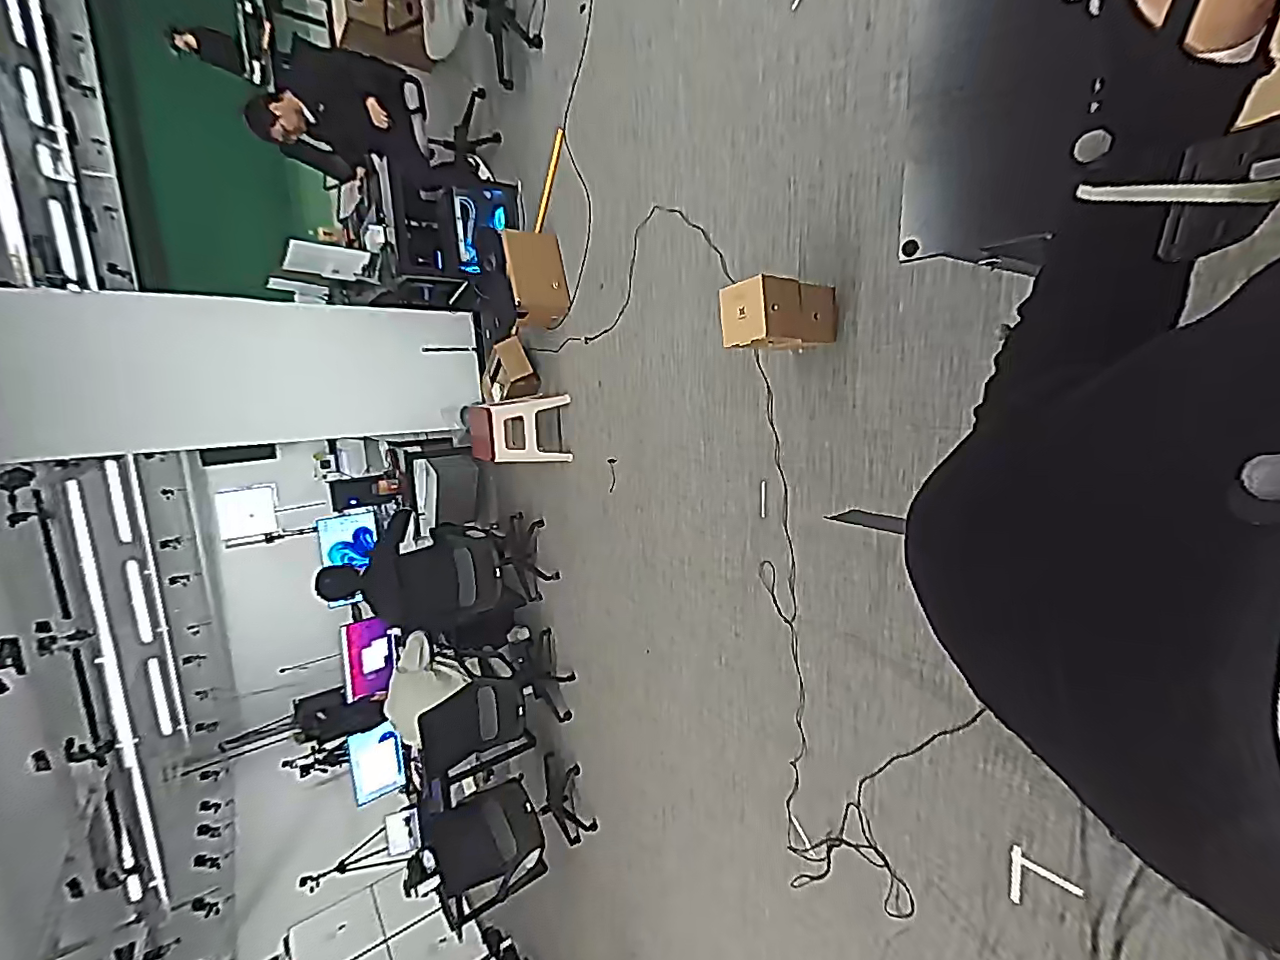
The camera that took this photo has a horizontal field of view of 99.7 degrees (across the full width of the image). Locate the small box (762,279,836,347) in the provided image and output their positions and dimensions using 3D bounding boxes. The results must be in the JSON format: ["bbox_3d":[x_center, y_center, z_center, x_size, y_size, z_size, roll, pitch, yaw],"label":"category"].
[{"bbox_3d":[0.496,-0.516,1.696,0.168,0.176,0.179,6,103,53],"label":"small box"}]

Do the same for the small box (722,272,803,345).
[{"bbox_3d":[0.365,-0.500,1.600,0.168,0.176,0.179,1,98,53],"label":"small box"}]
